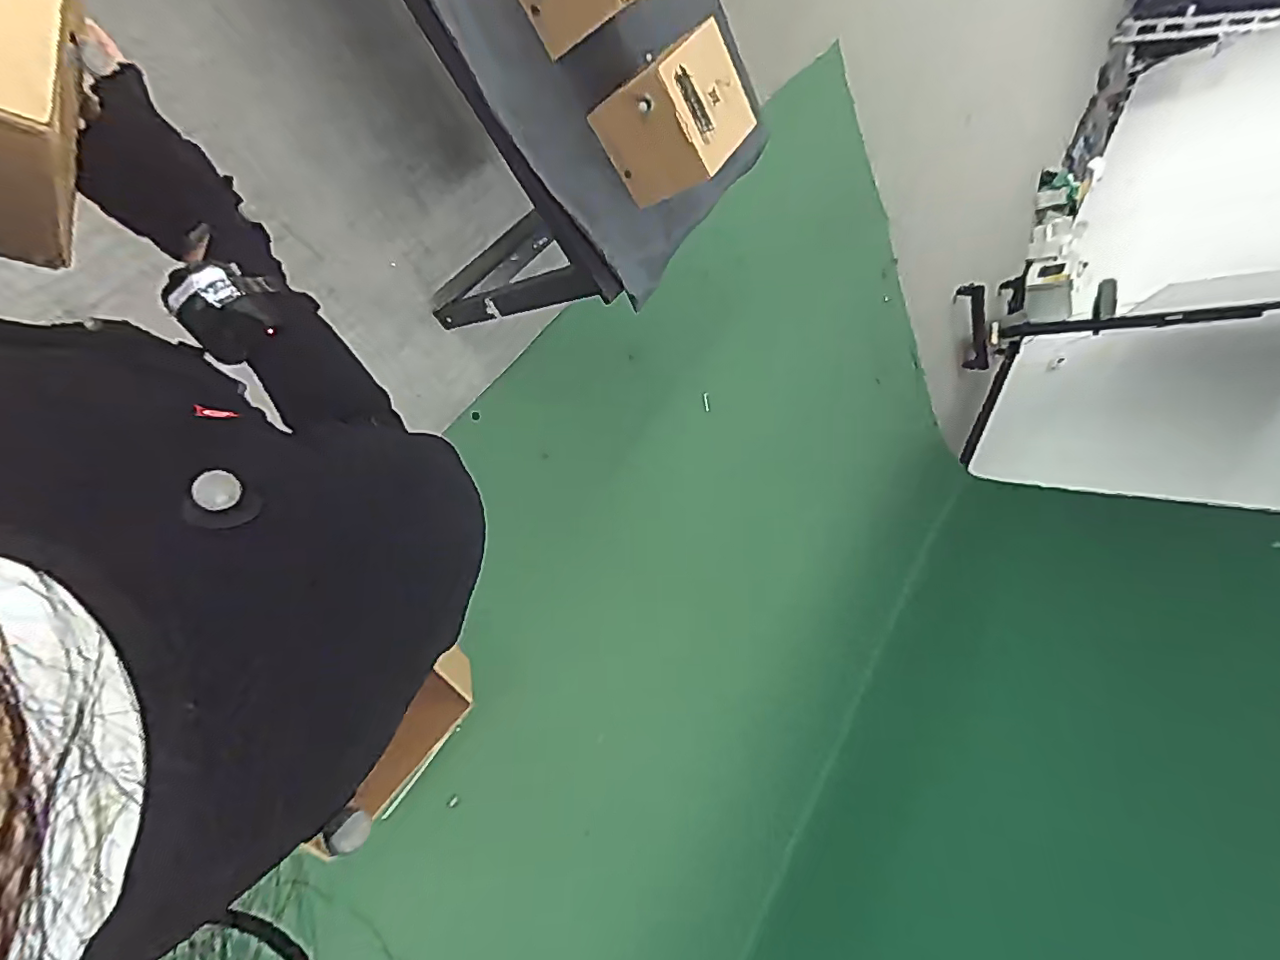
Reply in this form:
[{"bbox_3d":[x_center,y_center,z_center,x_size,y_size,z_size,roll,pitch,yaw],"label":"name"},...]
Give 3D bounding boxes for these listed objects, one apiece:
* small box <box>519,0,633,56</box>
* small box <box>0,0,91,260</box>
[{"bbox_3d":[-0.075,-0.750,0.755,0.179,0.176,0.168,-54,127,-22],"label":"small box"},{"bbox_3d":[-0.407,-0.252,0.281,0.168,0.176,0.179,3,80,-46],"label":"small box"}]
